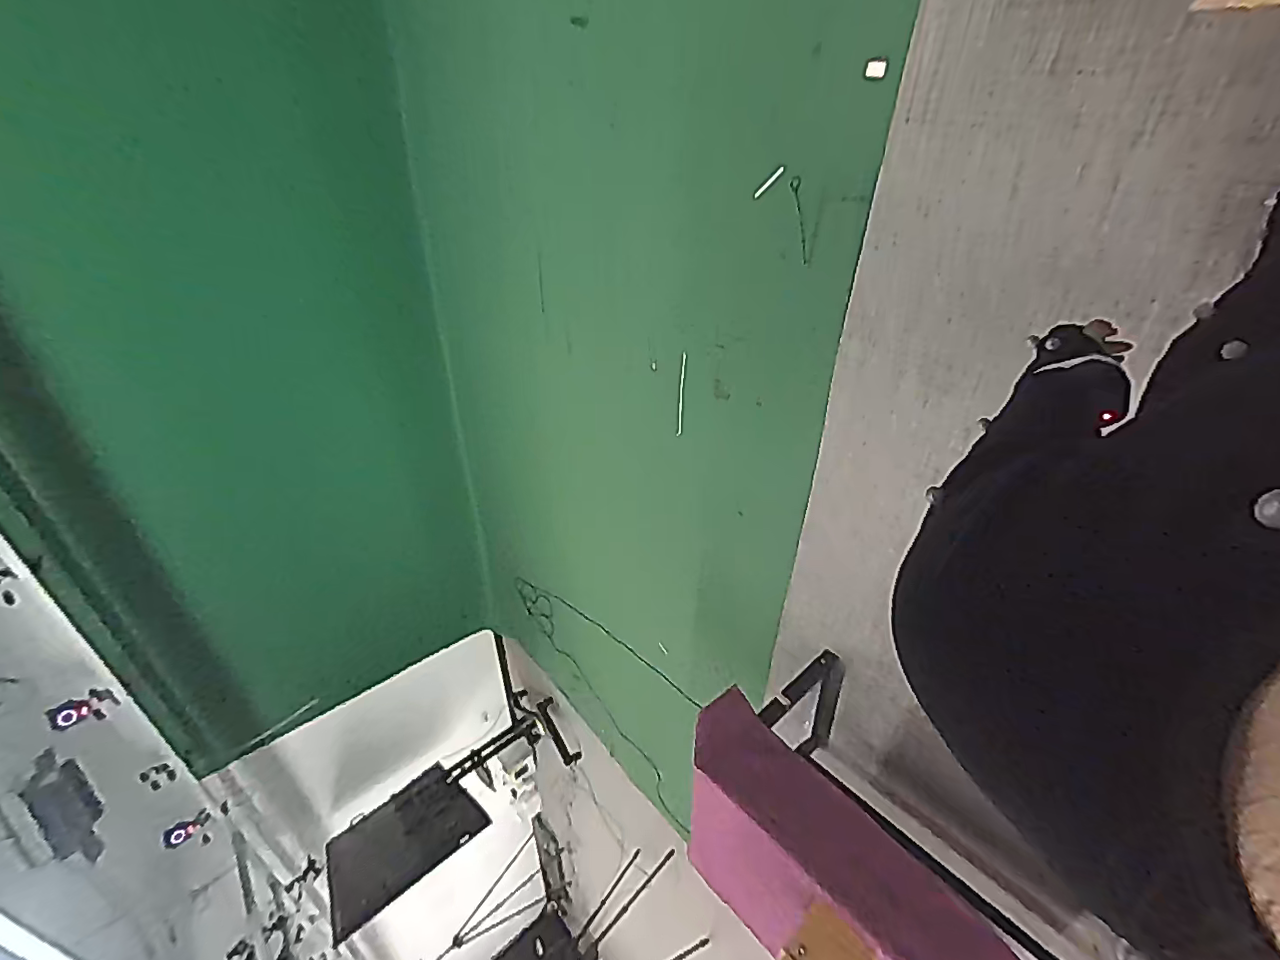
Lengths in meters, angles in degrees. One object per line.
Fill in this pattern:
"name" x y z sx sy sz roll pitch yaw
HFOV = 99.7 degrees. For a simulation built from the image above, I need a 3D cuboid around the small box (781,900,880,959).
"small box" 0.477 1.227 1.365 0.179 0.176 0.168 31 134 41
